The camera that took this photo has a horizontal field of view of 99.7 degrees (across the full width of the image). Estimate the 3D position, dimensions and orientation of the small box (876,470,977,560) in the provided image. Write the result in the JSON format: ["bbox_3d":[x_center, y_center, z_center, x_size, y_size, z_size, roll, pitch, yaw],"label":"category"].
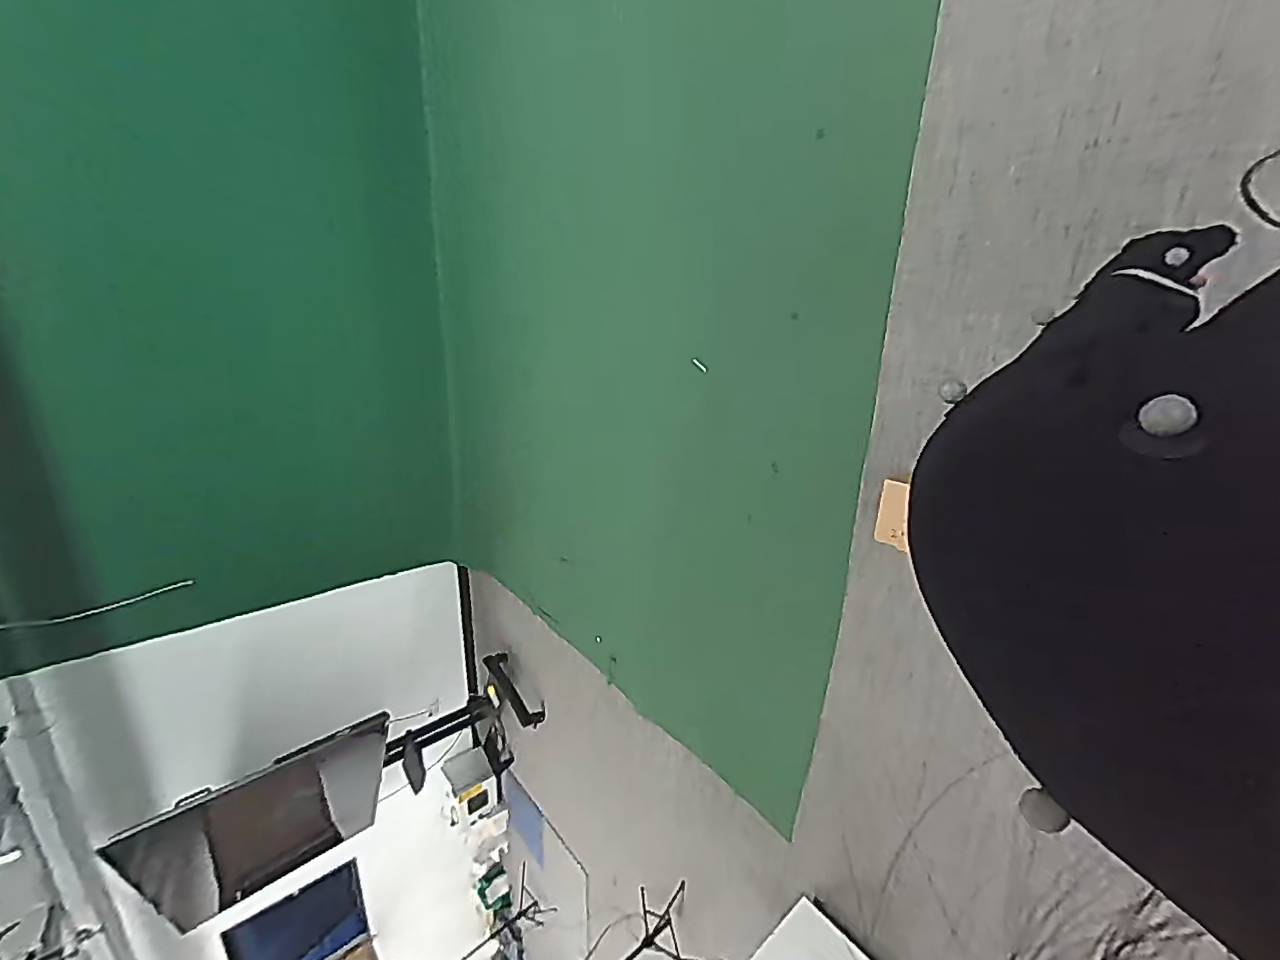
[{"bbox_3d":[0.747,0.080,1.404,0.168,0.176,0.179,23,116,47],"label":"small box"}]
